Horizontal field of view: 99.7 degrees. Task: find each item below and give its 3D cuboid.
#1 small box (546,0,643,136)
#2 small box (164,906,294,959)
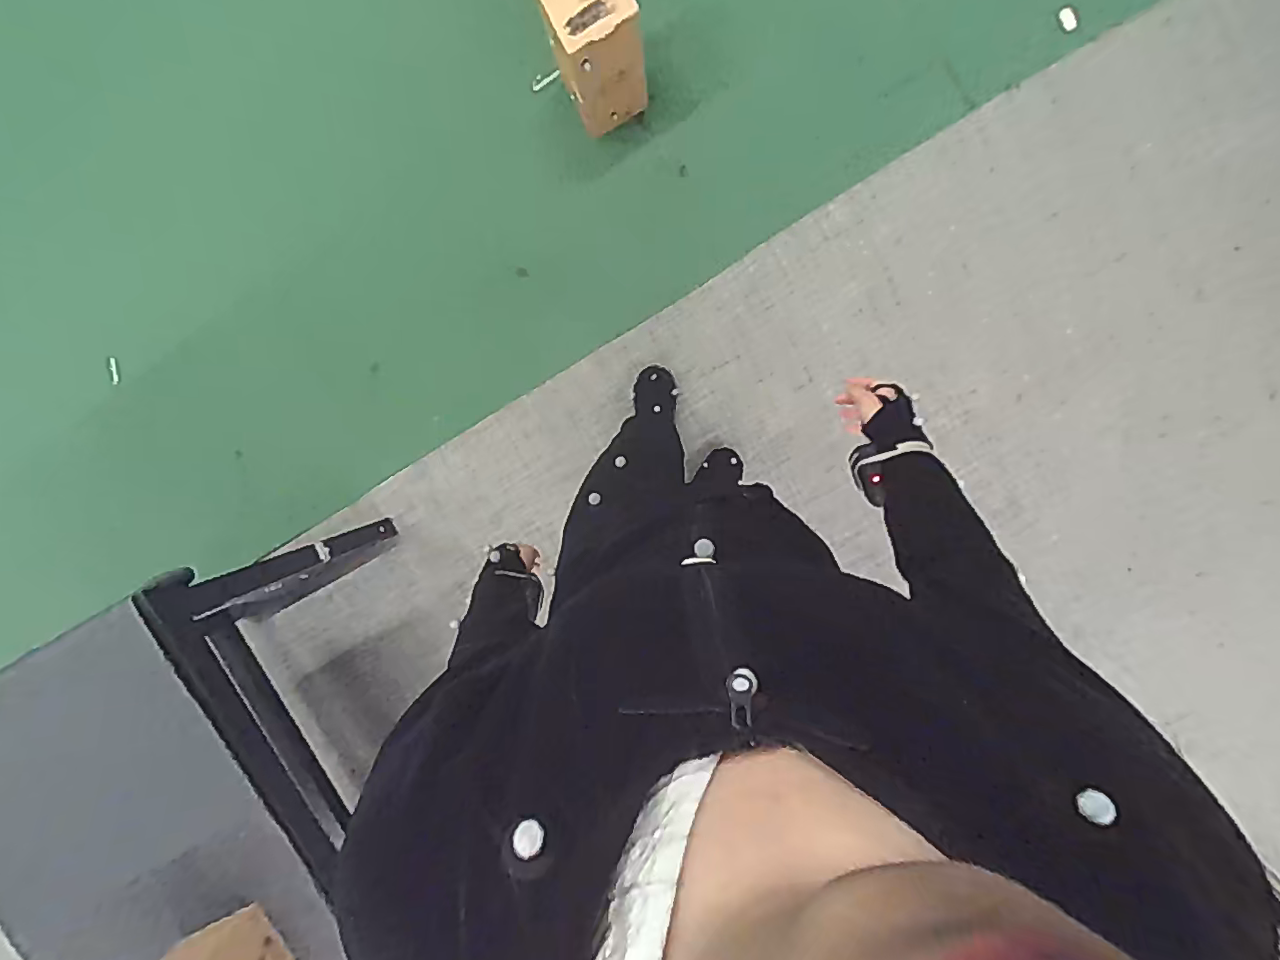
[{"bbox_3d":[-0.103,-0.993,1.313,0.168,0.176,0.179,-27,94,7],"label":"small box"},{"bbox_3d":[-0.676,0.821,0.833,0.179,0.176,0.168,-30,94,7],"label":"small box"}]
